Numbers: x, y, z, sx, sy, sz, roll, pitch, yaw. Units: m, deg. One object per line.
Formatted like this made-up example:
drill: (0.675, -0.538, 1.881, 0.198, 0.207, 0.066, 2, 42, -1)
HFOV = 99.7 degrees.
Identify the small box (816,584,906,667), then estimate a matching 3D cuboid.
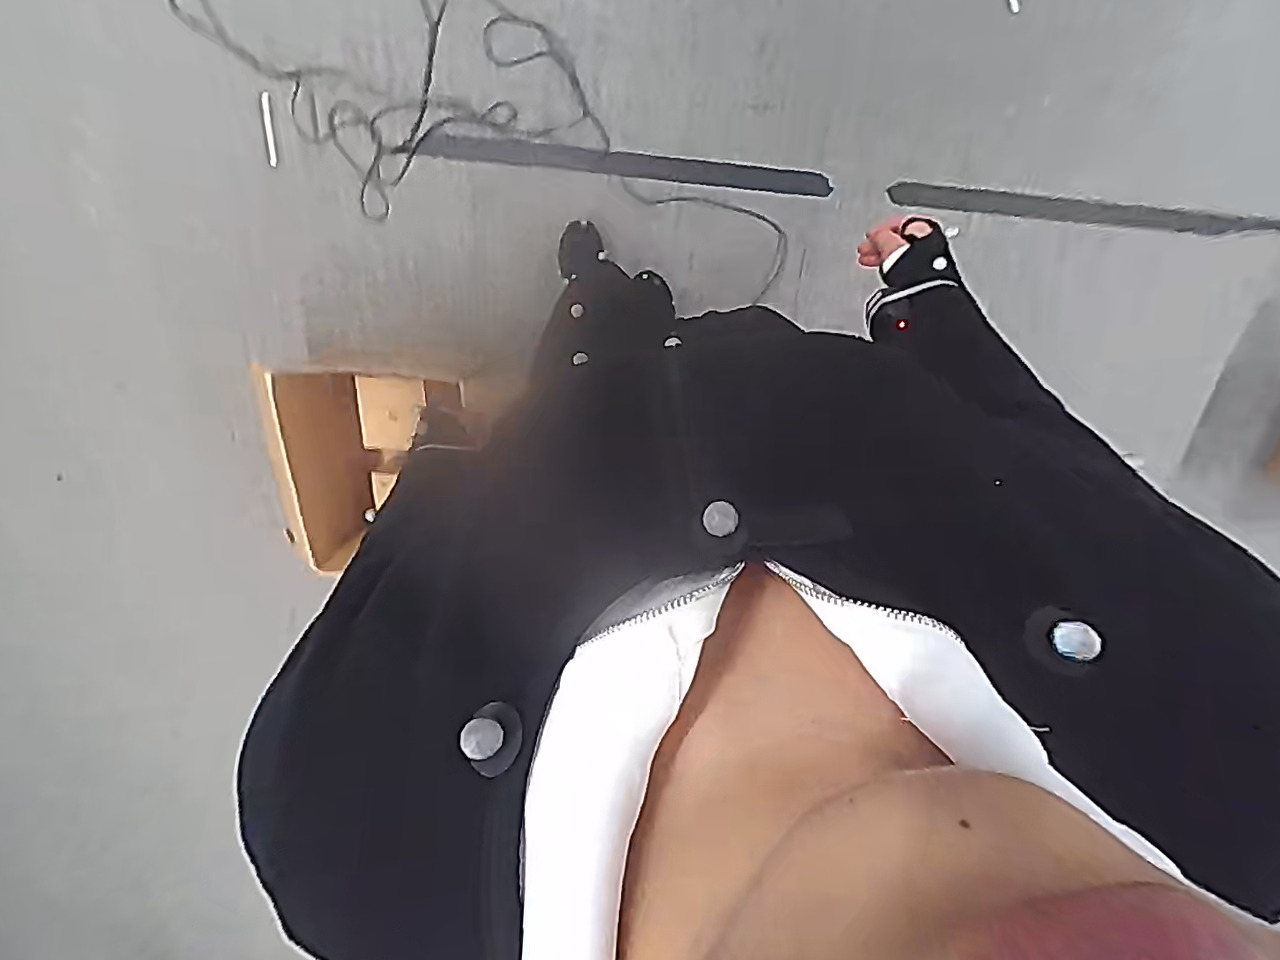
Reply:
small box: (0.650, 0.428, 1.611, 0.179, 0.176, 0.168, 8, 110, -2)
